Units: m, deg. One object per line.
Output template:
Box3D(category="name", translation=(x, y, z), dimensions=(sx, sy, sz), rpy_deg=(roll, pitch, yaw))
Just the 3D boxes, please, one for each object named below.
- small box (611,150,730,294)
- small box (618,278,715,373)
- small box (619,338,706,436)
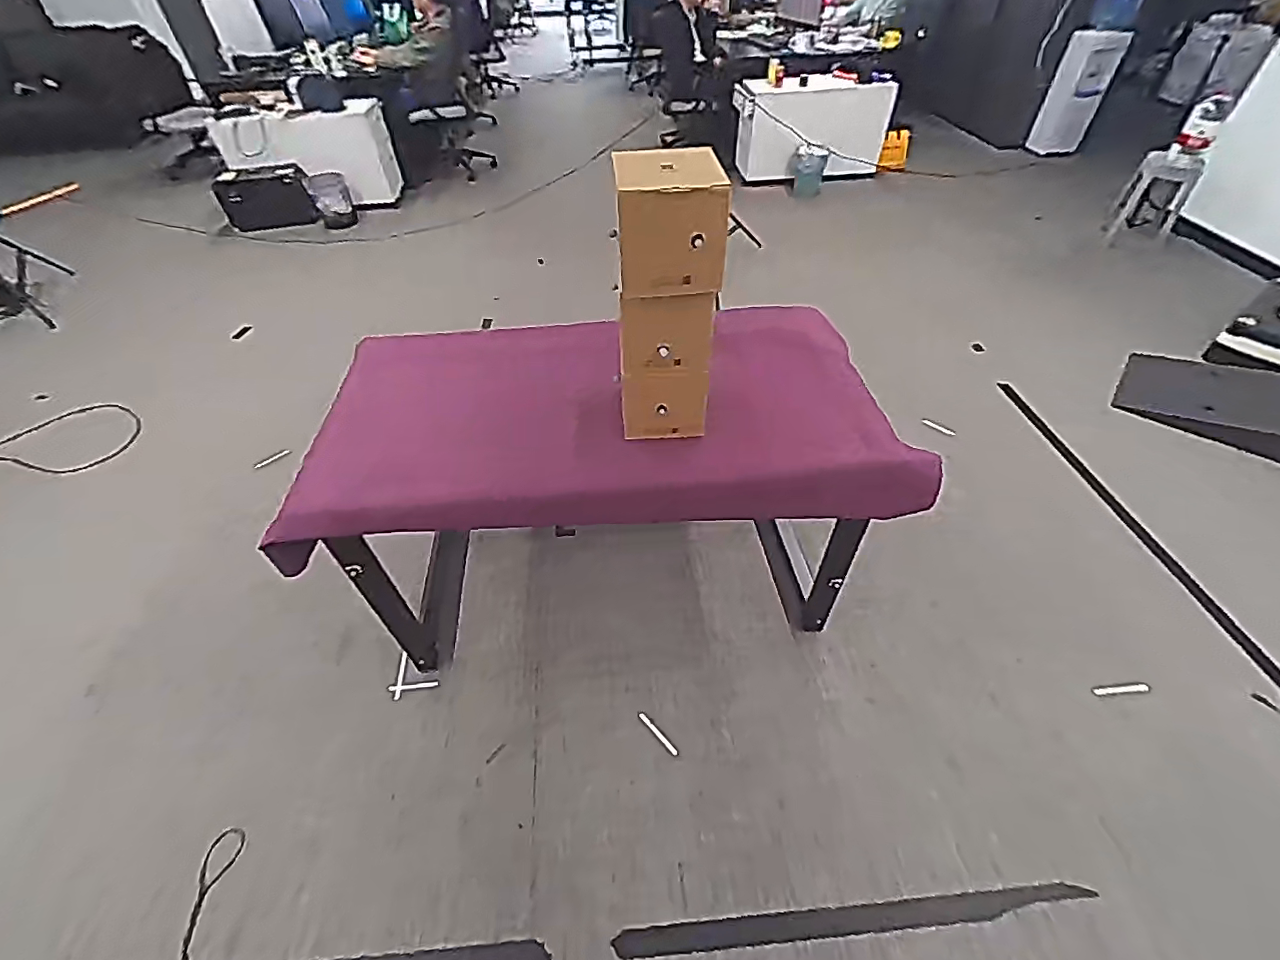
Box3D(category="small box", translation=(0.043, -0.415, 0.881), dimensions=(0.168, 0.176, 0.179), rpy_deg=(-5, 46, -4))
Box3D(category="small box", translation=(0.043, -0.319, 1.013), dimensions=(0.168, 0.176, 0.179), rpy_deg=(-3, 47, -1))
Box3D(category="small box", translation=(0.044, -0.204, 1.130), dimensions=(0.168, 0.176, 0.179), rpy_deg=(-2, 46, -1))
